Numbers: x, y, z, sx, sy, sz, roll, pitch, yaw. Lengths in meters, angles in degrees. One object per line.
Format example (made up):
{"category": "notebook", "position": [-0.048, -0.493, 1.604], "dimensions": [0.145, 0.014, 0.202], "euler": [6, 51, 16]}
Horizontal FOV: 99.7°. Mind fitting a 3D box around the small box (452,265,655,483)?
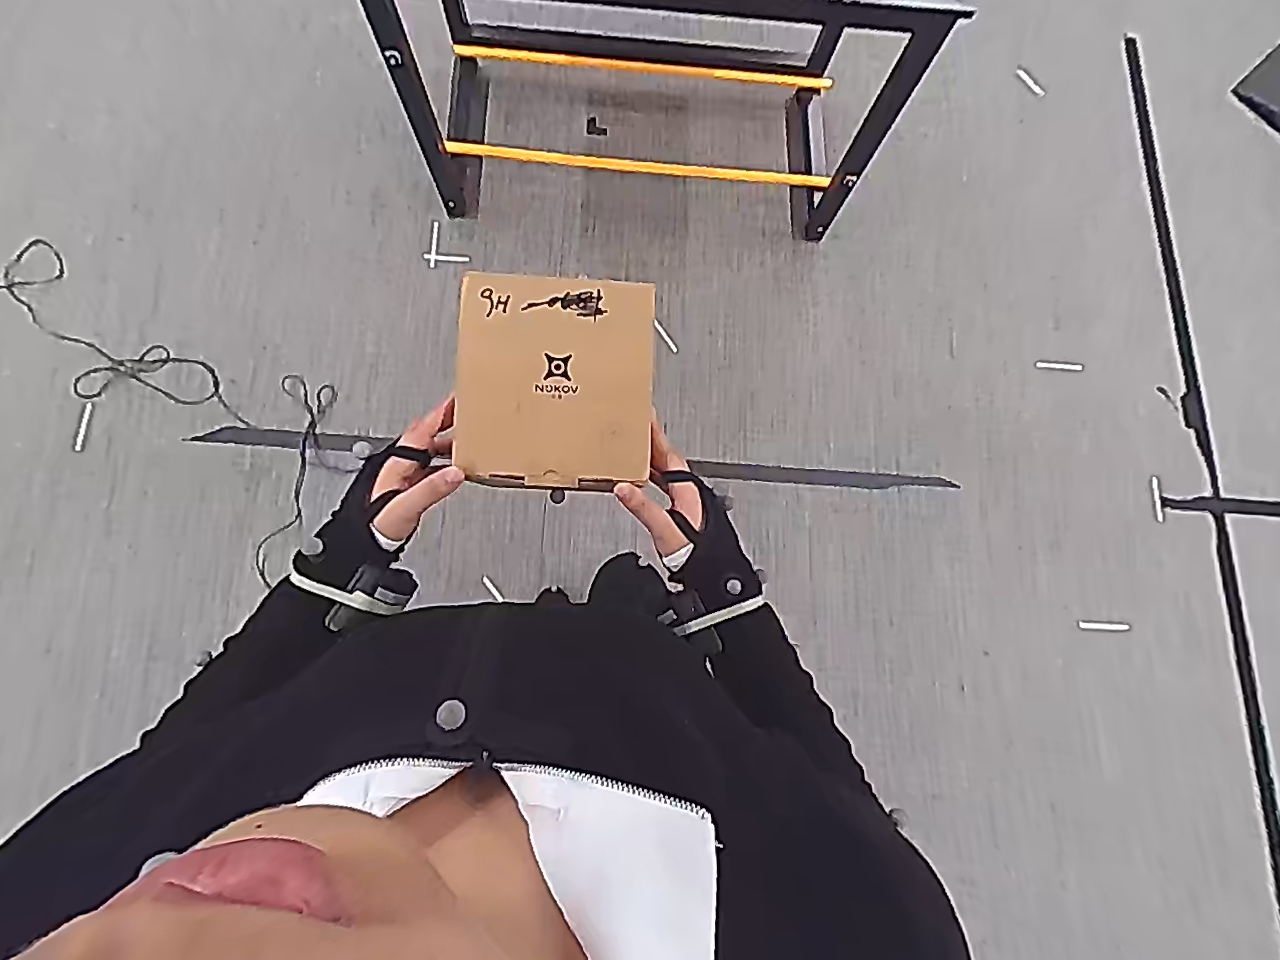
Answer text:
{"category": "small box", "position": [-0.077, -0.088, 0.537], "dimensions": [0.168, 0.176, 0.179], "euler": [2, 87, -4]}
